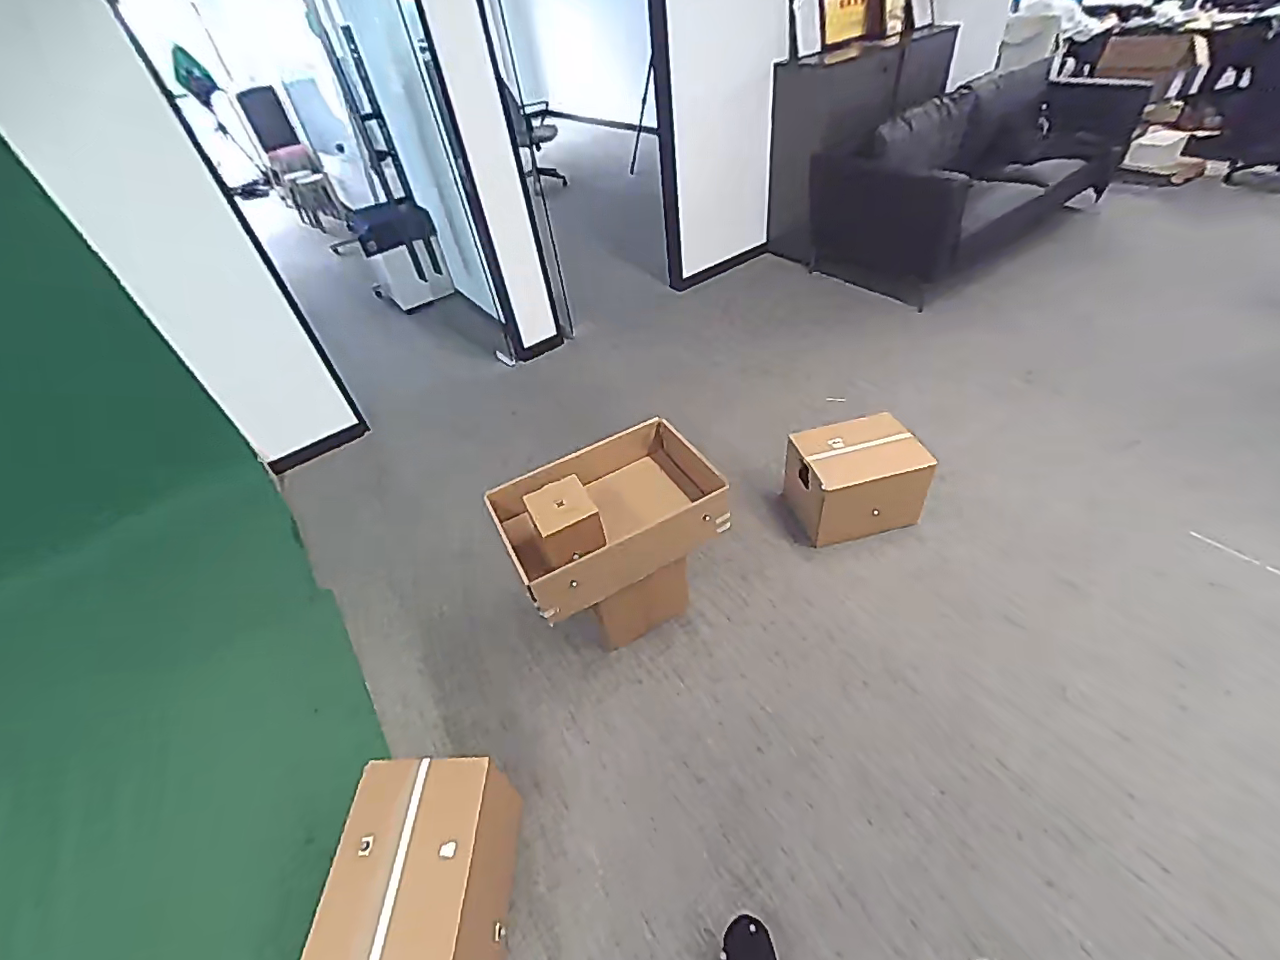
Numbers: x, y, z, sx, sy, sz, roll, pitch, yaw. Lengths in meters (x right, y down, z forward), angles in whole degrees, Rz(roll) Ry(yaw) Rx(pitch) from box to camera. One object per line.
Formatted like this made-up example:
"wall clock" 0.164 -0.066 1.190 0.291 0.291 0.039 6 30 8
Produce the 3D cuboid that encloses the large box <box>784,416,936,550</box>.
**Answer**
"large box" 0.789 0.011 2.003 0.408 0.320 0.320 -14 43 -4
